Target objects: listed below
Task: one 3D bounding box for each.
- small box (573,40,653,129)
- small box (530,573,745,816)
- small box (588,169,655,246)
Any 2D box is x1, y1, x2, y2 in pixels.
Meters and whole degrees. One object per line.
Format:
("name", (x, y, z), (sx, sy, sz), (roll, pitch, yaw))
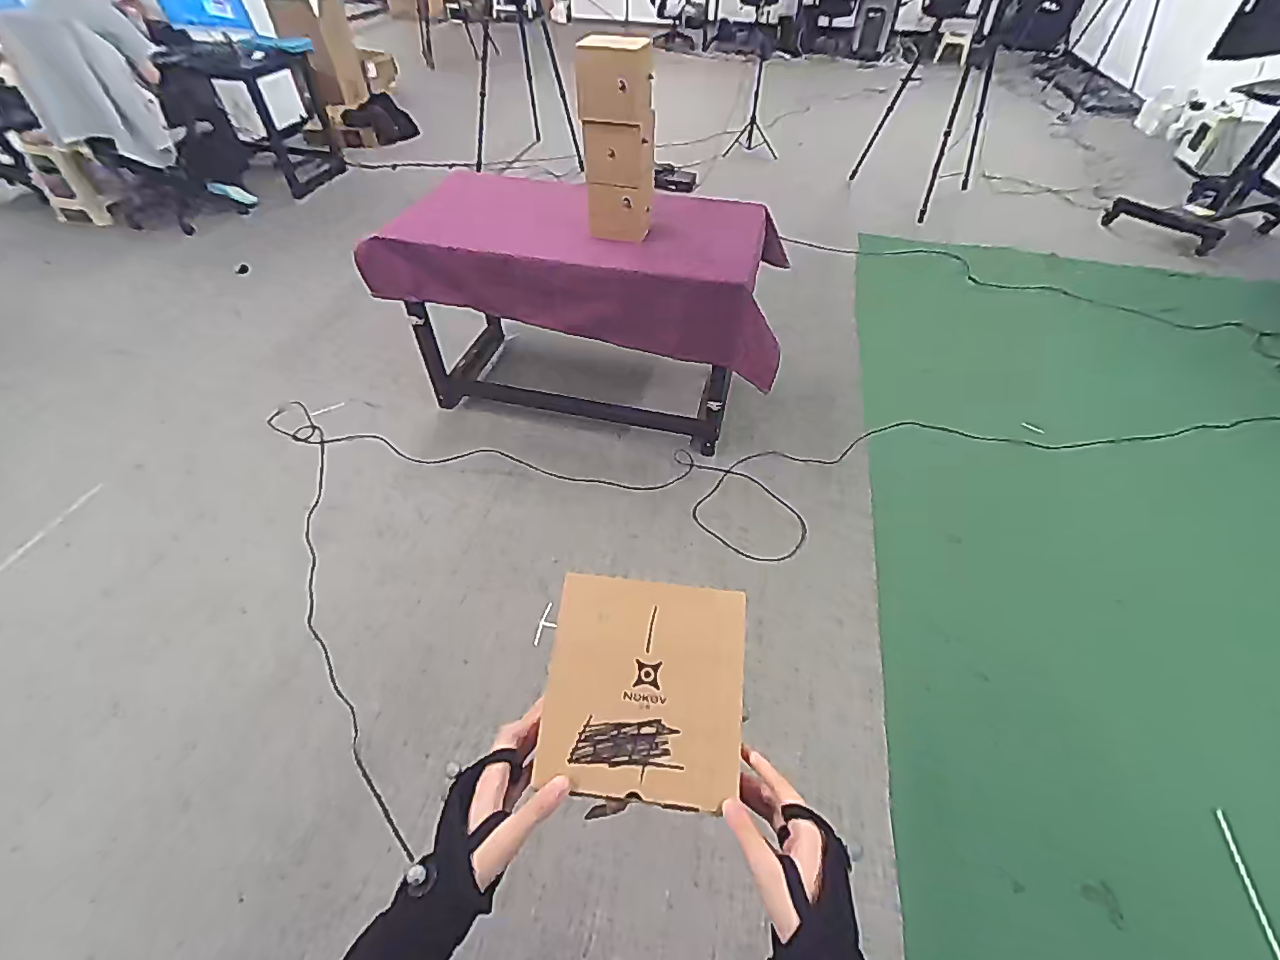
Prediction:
("small box", (-0.070, -1.088, 1.491), (0.179, 0.176, 0.168), (11, 48, 10))
("small box", (0.002, 0.205, 0.528), (0.168, 0.176, 0.179), (7, 65, 2))
("small box", (-0.057, -0.872, 1.739), (0.179, 0.176, 0.168), (12, 48, 10))
